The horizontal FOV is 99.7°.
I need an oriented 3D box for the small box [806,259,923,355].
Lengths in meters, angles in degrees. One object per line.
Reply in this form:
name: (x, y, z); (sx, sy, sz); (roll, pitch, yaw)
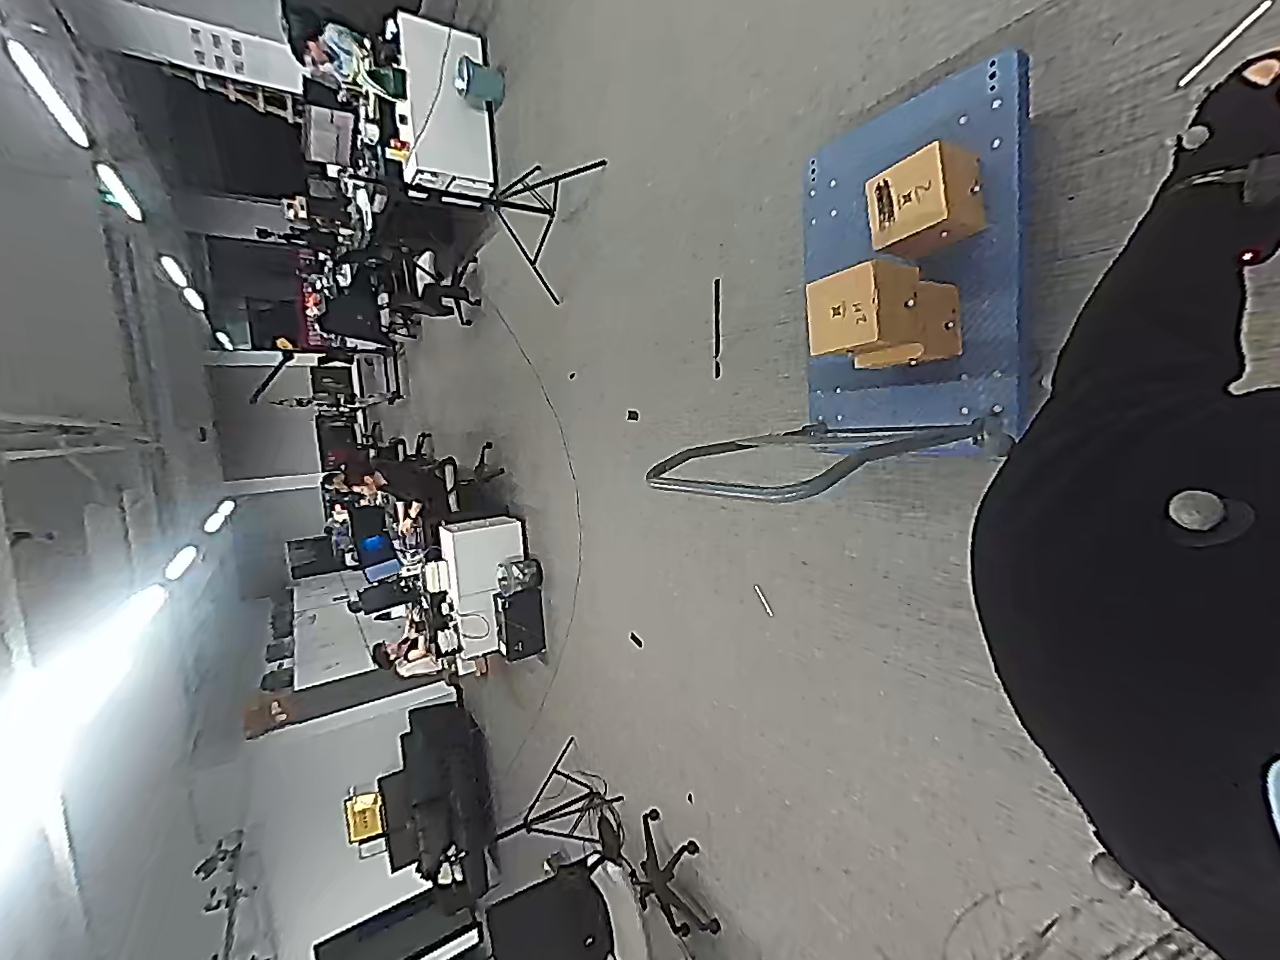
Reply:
small box: (0.500, -0.375, 1.208); (0.179, 0.176, 0.168); (0, 97, 57)

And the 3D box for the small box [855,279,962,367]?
small box: (0.639, -0.368, 1.299); (0.179, 0.176, 0.168); (-1, 96, 57)
